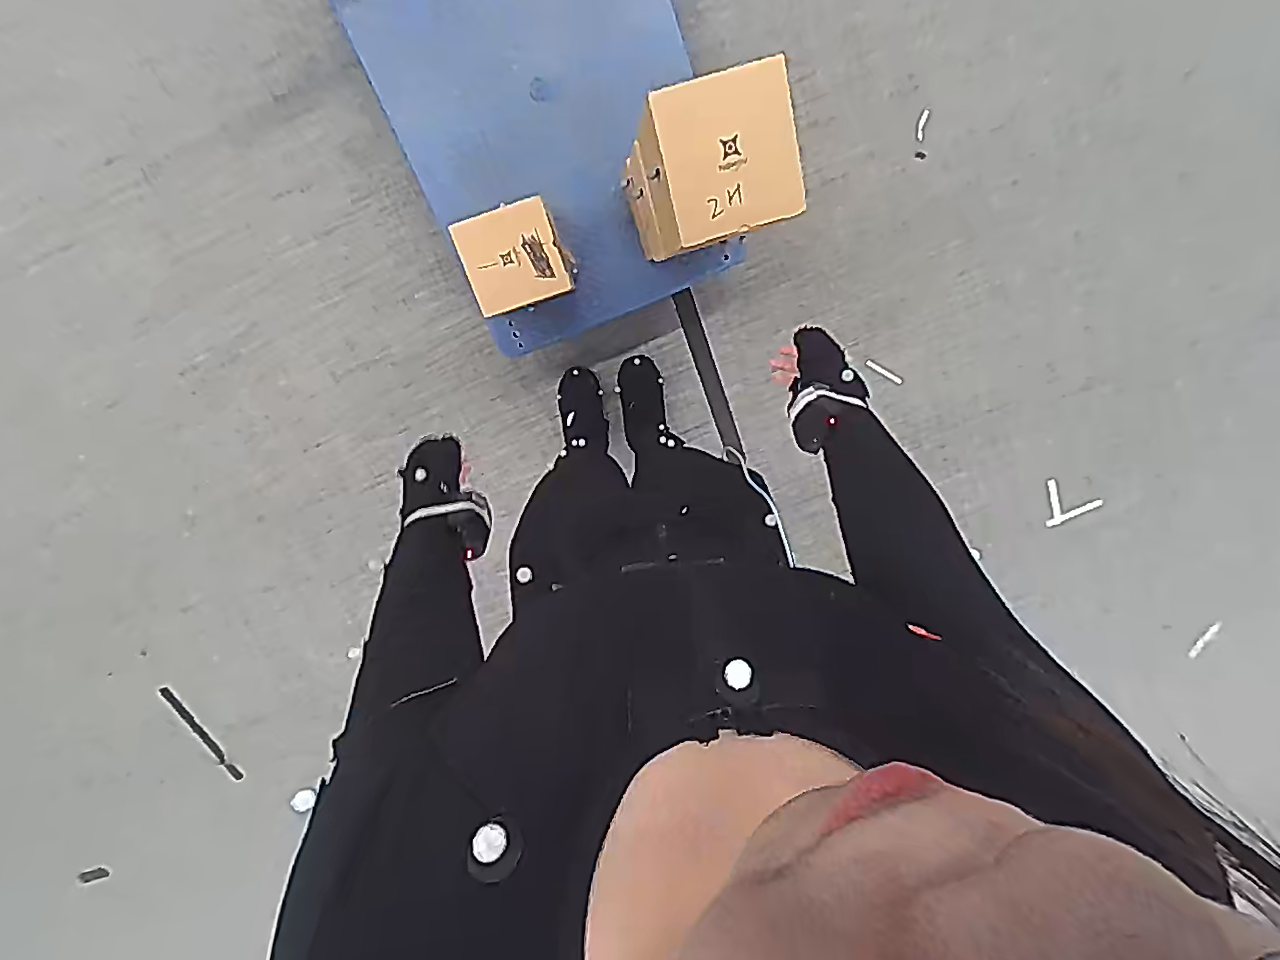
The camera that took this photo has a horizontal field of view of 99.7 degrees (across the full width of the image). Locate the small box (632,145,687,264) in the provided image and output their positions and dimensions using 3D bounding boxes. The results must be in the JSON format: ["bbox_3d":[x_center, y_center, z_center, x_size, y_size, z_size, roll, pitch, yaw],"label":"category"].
[{"bbox_3d":[0.089,-0.463,0.887,0.179,0.176,0.168,-17,110,1],"label":"small box"}]

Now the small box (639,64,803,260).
[{"bbox_3d":[0.101,-0.411,0.731,0.168,0.176,0.179,-16,110,1],"label":"small box"}]

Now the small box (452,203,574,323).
[{"bbox_3d":[-0.234,-0.417,1.050,0.179,0.176,0.168,-18,110,3],"label":"small box"}]

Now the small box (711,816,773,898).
[{"bbox_3d":[0.363,1.347,1.948,0.168,0.176,0.179,-15,111,2],"label":"small box"}]
